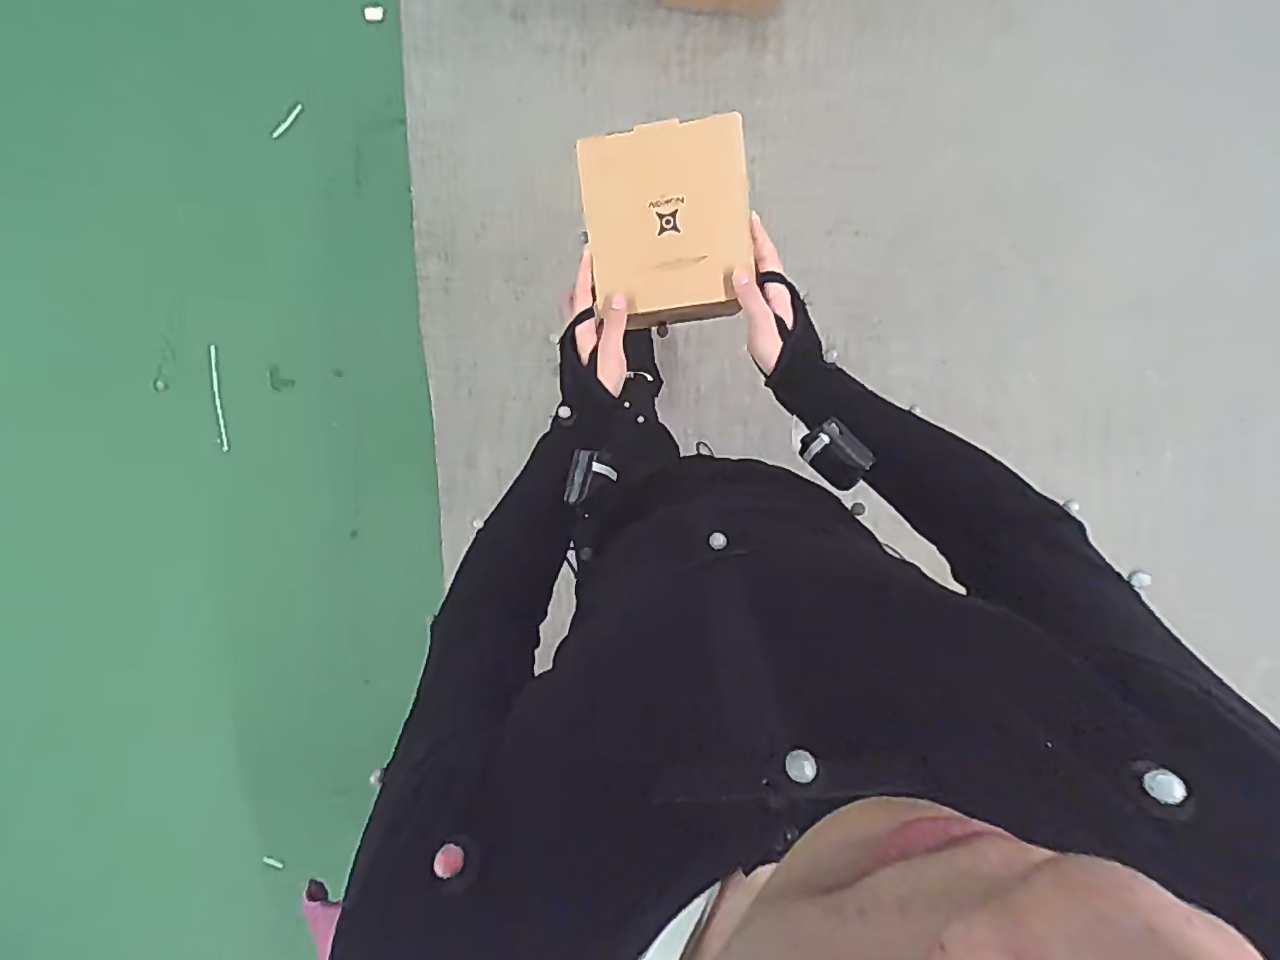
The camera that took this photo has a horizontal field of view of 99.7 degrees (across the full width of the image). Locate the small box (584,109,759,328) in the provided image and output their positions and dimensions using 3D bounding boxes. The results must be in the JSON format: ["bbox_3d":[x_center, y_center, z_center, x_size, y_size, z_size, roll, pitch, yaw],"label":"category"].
[{"bbox_3d":[0.036,-0.279,0.617,0.168,0.176,0.179,-6,100,4],"label":"small box"}]
